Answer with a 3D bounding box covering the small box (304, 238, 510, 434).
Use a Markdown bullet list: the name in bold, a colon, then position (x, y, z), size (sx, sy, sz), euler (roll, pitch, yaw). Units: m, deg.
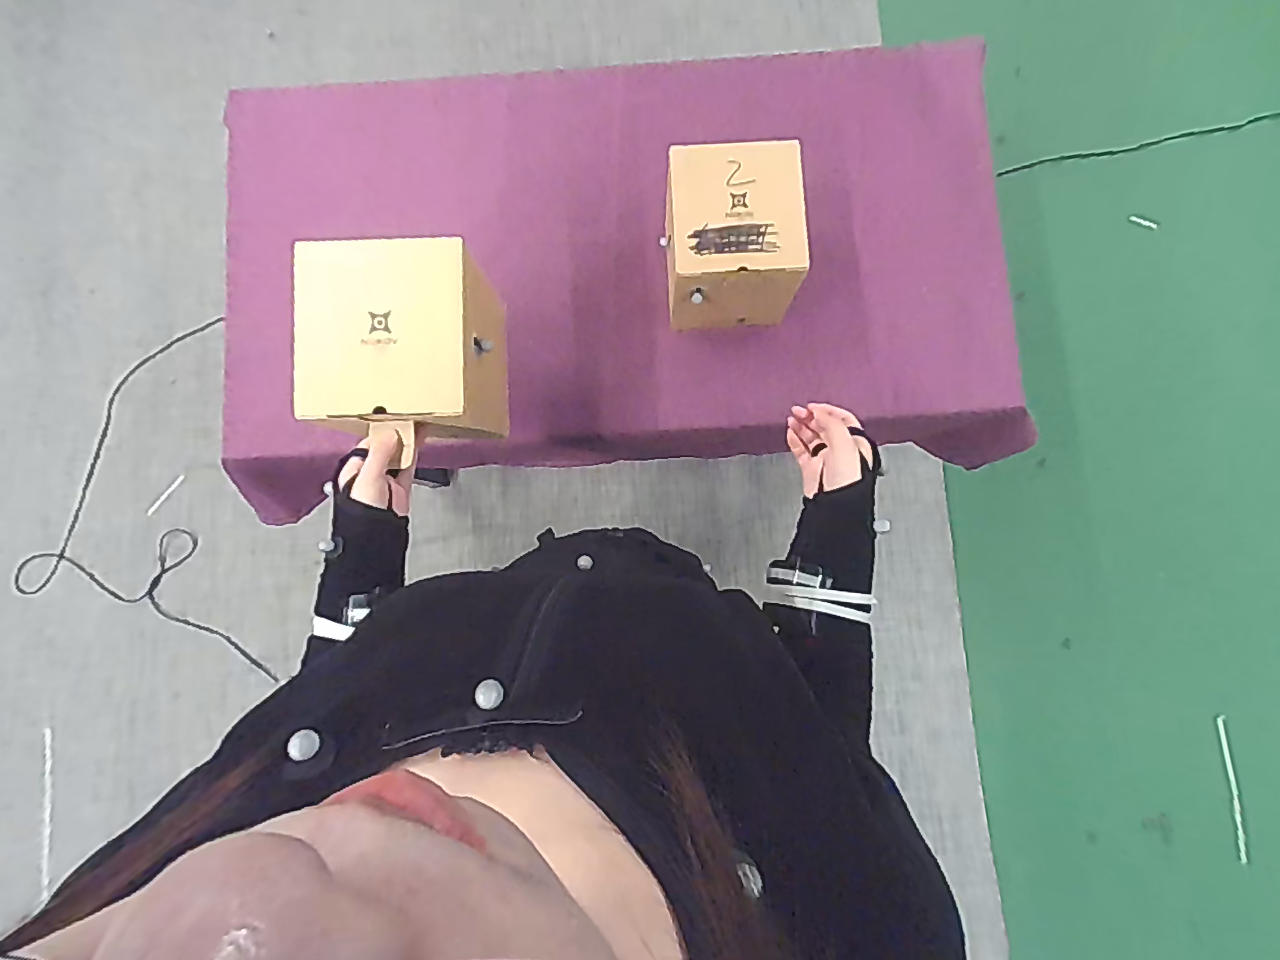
- **small box**: position (-0.250, -0.151, 0.617), size (0.168, 0.176, 0.179), euler (-1, 88, 1)
